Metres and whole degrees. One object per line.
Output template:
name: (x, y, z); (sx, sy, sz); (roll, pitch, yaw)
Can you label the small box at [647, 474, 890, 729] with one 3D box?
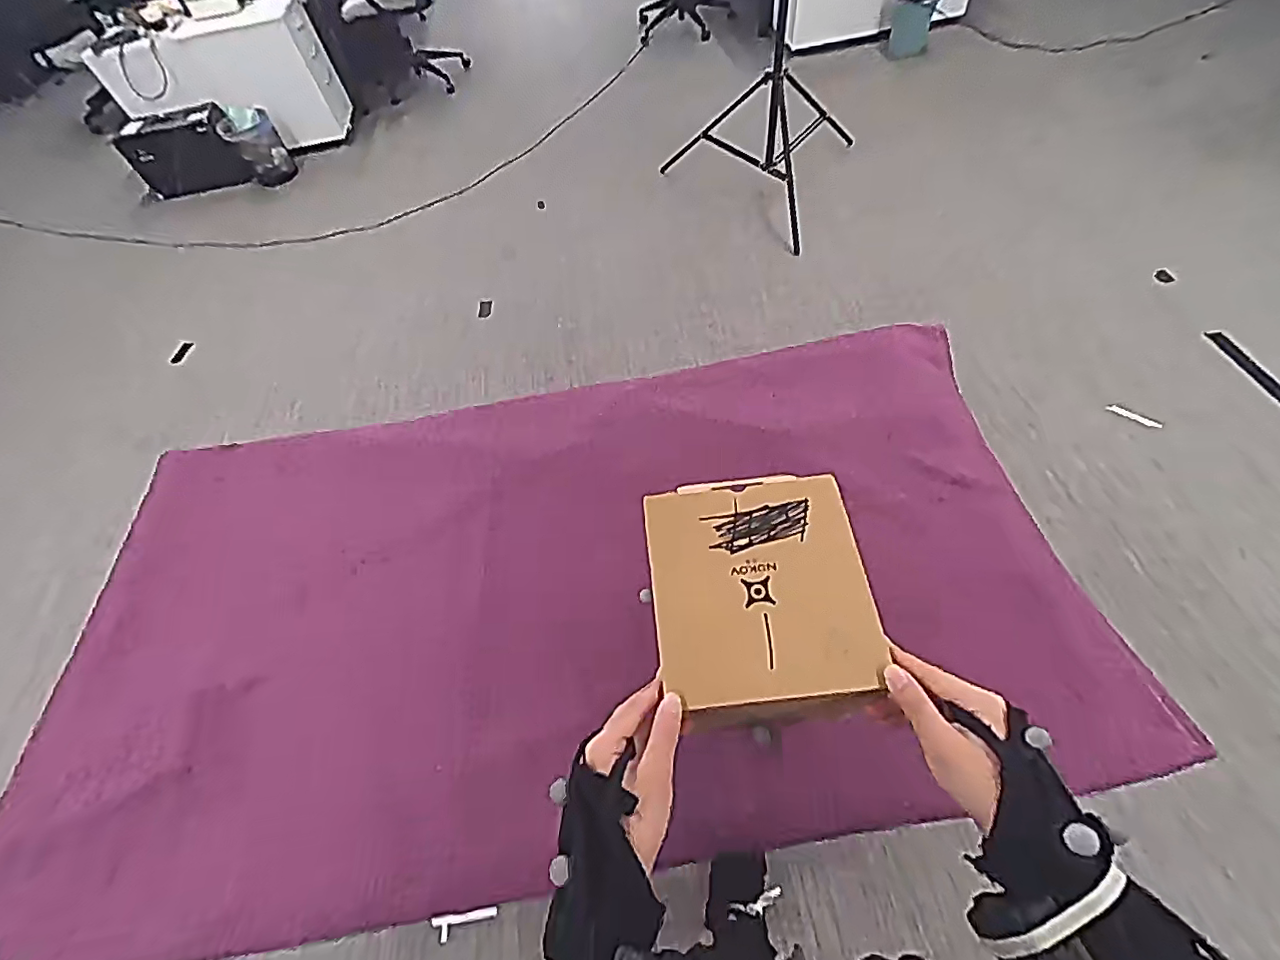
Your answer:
small box: (0.097, 0.117, 0.497); (0.168, 0.176, 0.179); (-7, 58, 2)
